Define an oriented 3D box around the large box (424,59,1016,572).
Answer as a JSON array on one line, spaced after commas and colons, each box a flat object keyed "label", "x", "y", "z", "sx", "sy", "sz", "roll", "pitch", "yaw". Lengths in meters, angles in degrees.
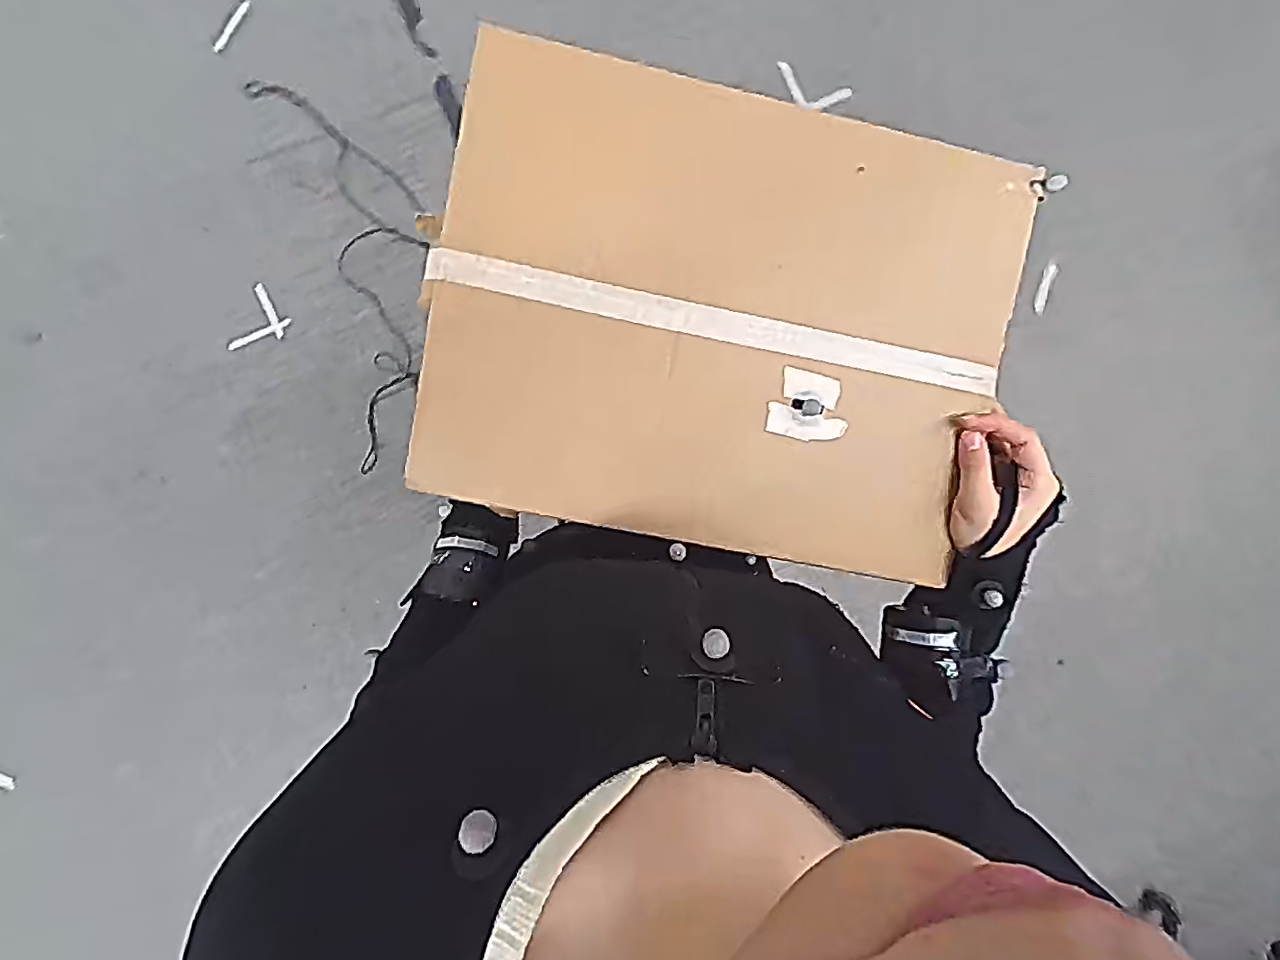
[{"label": "large box", "x": 0.049, "y": -0.117, "z": 0.539, "sx": 0.408, "sy": 0.320, "sz": 0.320, "roll": 10, "pitch": 94, "yaw": -6}]
